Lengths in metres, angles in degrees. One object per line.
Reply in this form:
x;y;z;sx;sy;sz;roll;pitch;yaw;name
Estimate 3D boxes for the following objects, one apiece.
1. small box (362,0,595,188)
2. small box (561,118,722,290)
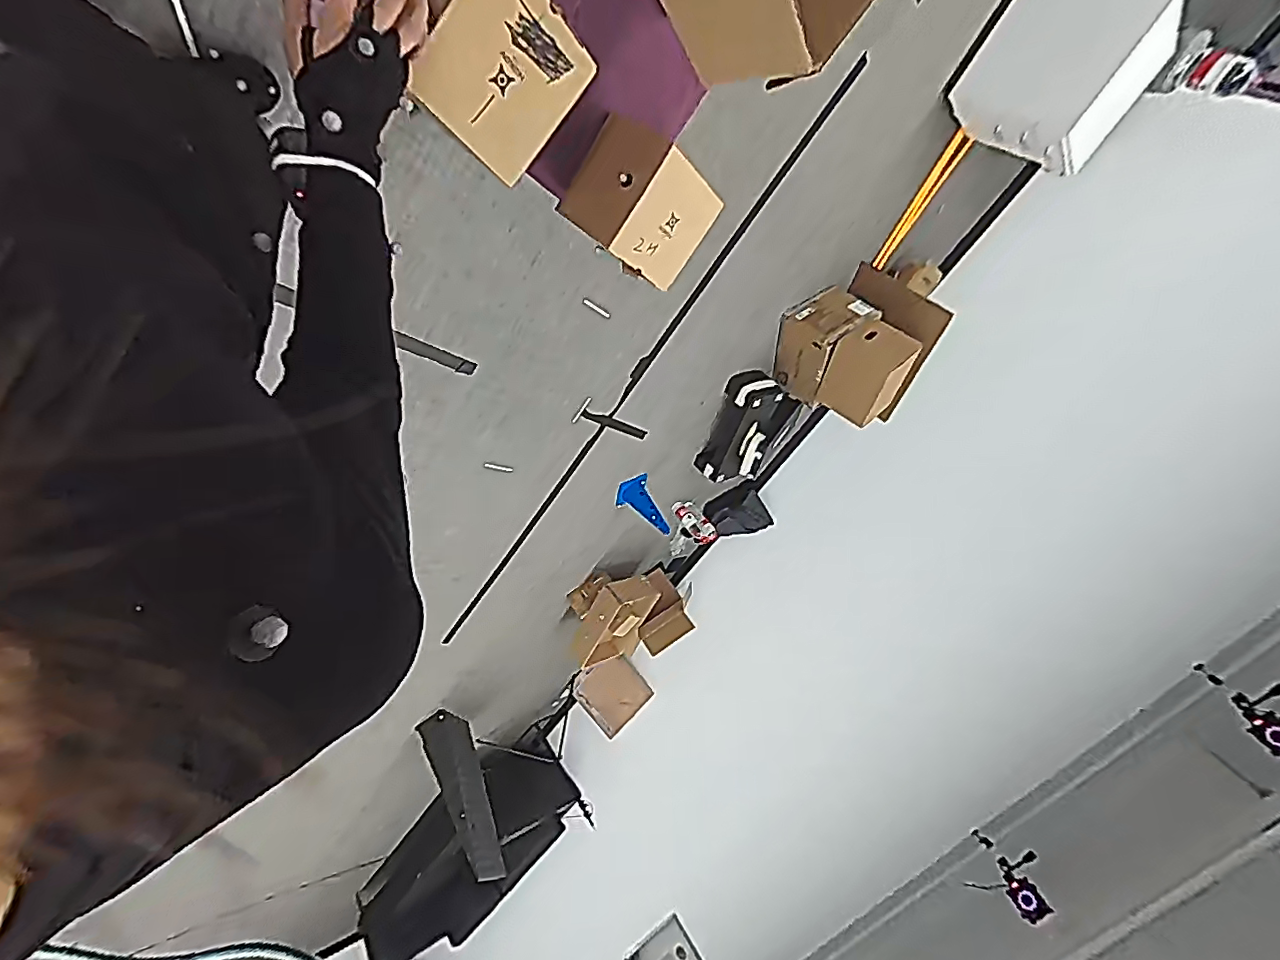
-0.194;-0.501;0.640;0.179;0.176;0.168;-48;149;12;small box
-0.002;-0.462;0.909;0.179;0.176;0.168;-53;147;17;small box
